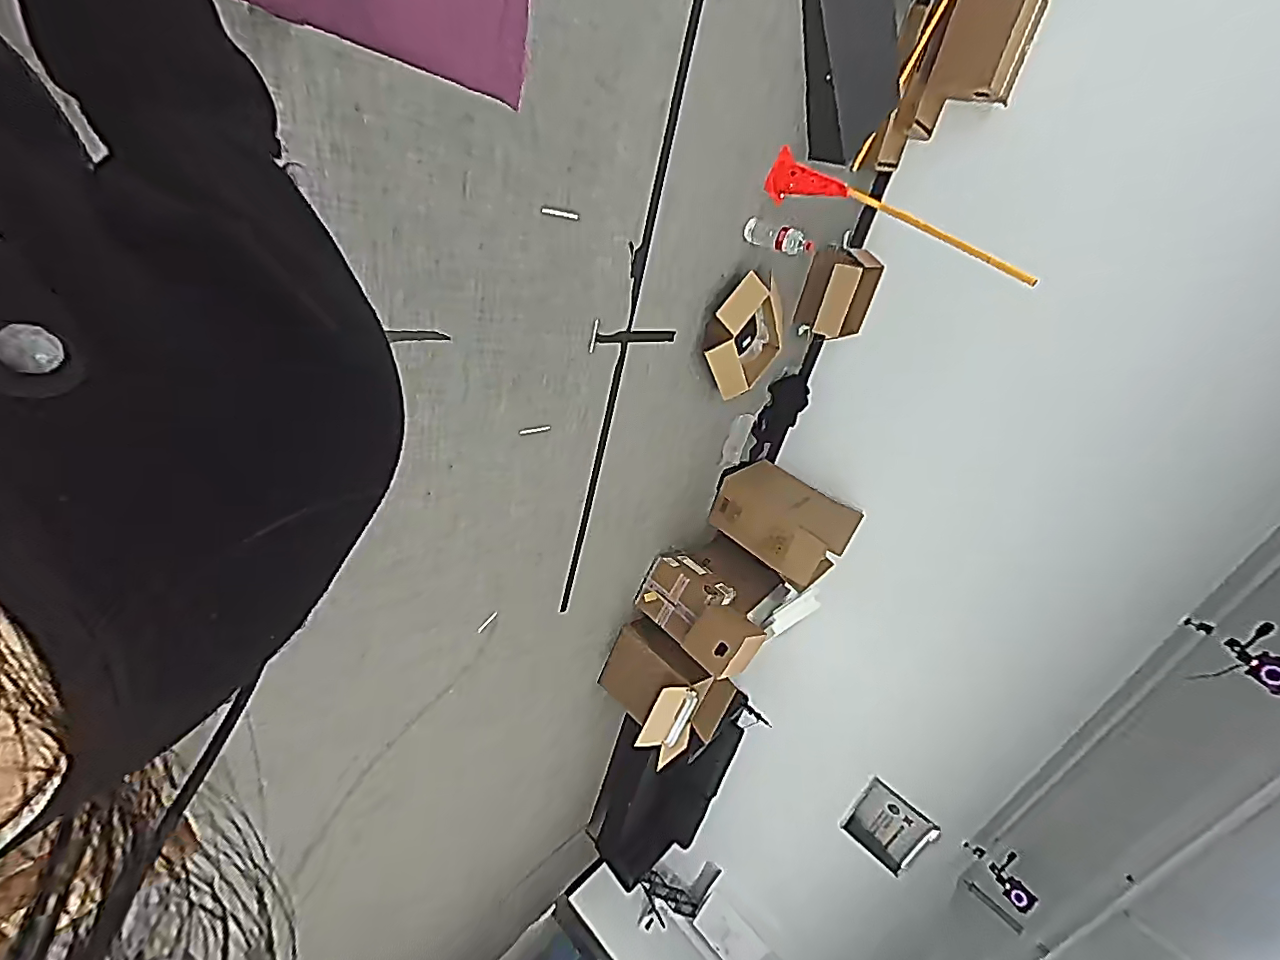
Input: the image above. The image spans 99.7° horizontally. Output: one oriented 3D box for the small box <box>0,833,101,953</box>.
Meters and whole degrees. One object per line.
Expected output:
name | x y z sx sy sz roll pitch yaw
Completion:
small box | -1.616 1.109 1.464 0.168 0.176 0.179 -25 138 -43
